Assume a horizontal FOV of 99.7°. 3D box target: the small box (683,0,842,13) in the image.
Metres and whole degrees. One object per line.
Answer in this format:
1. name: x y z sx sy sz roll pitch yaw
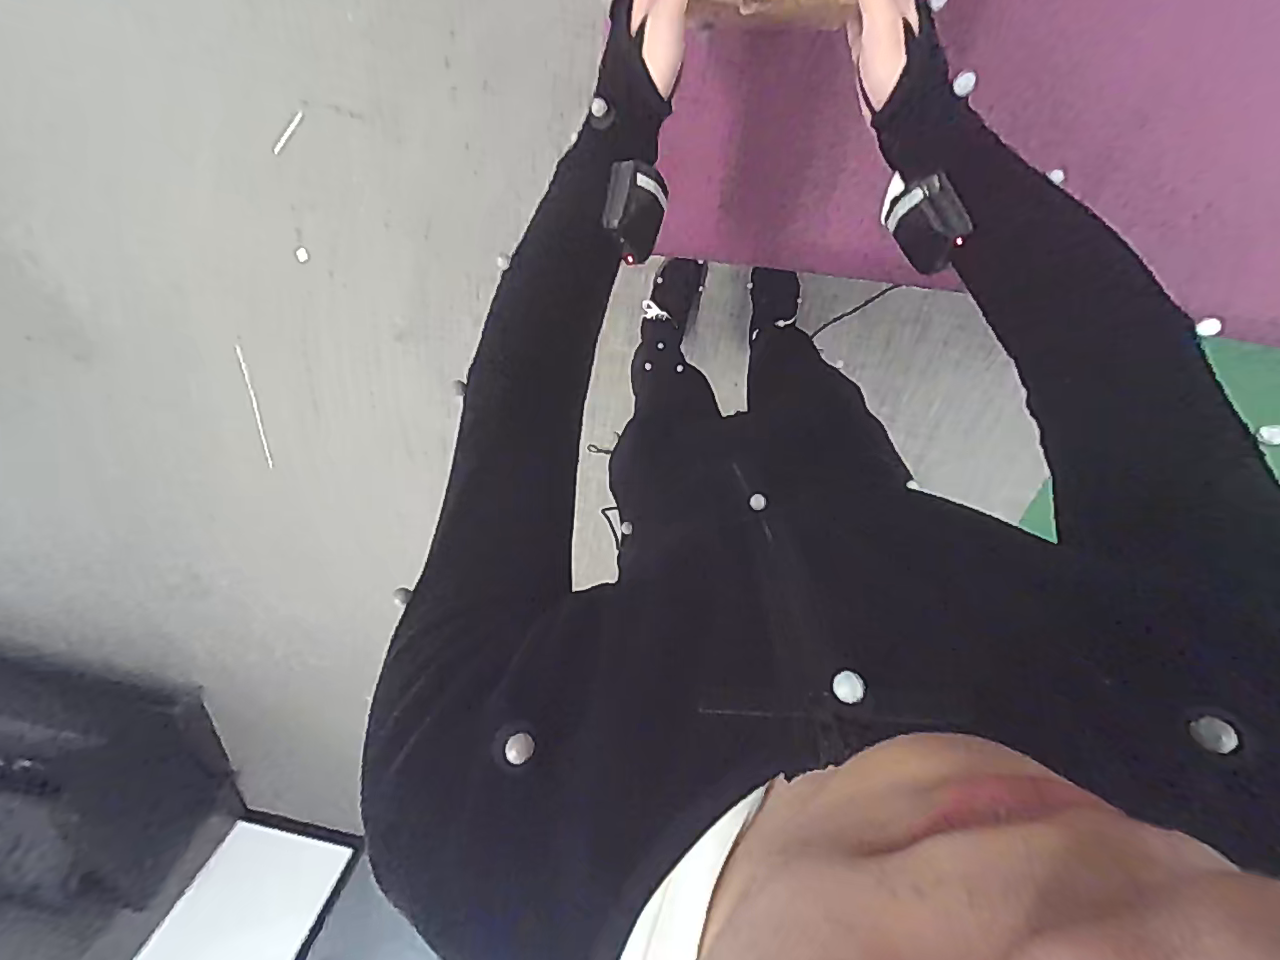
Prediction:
1. small box: 0.109 -0.495 0.428 0.168 0.176 0.179 4 124 3
